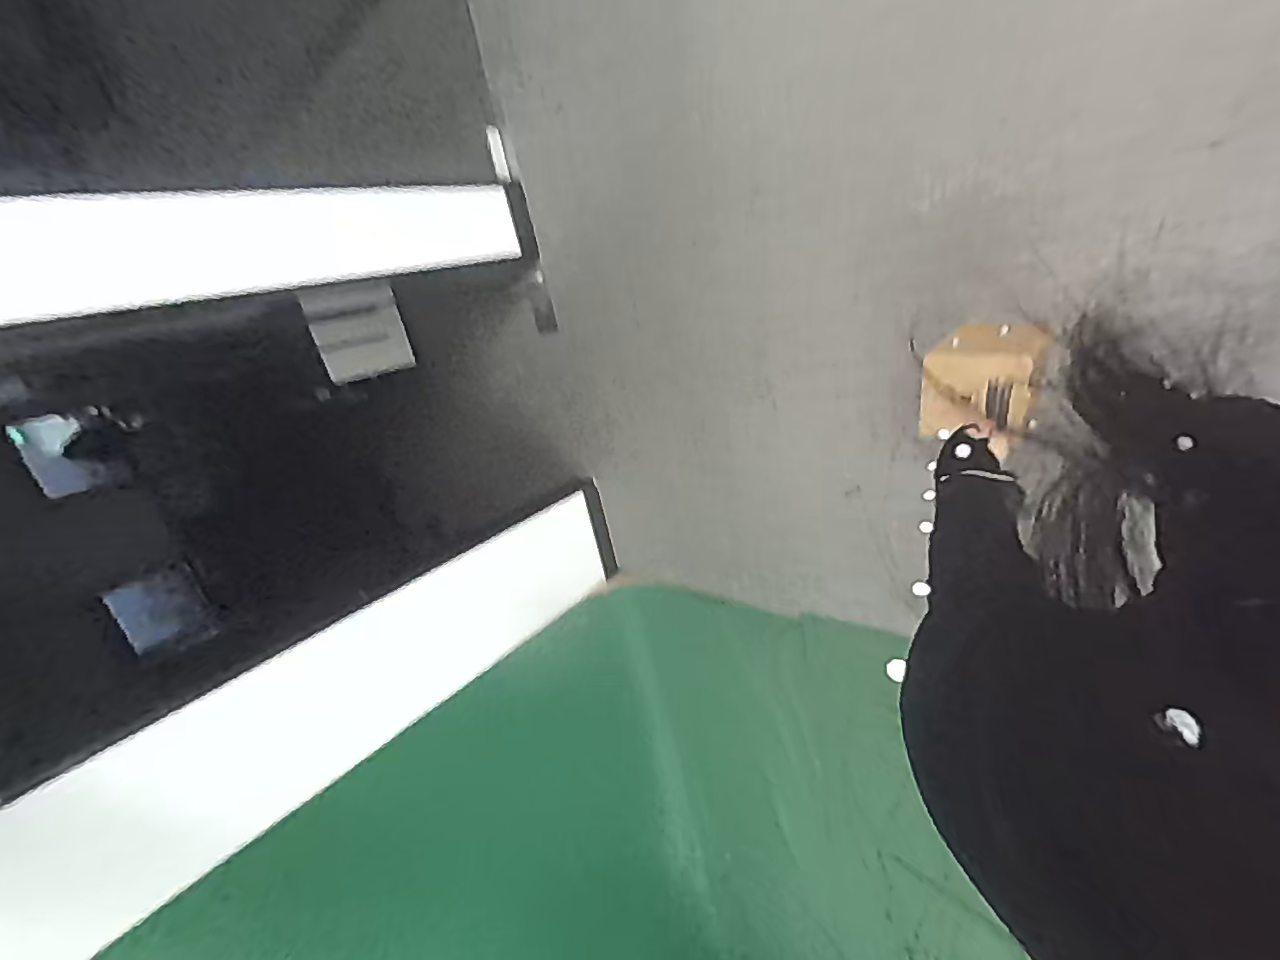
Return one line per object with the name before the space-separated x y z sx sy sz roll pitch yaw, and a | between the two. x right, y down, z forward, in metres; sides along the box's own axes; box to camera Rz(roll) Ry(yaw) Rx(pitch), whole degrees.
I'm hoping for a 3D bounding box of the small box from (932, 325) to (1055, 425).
small box | 0.769 -0.237 1.178 0.179 0.176 0.168 19 124 36
